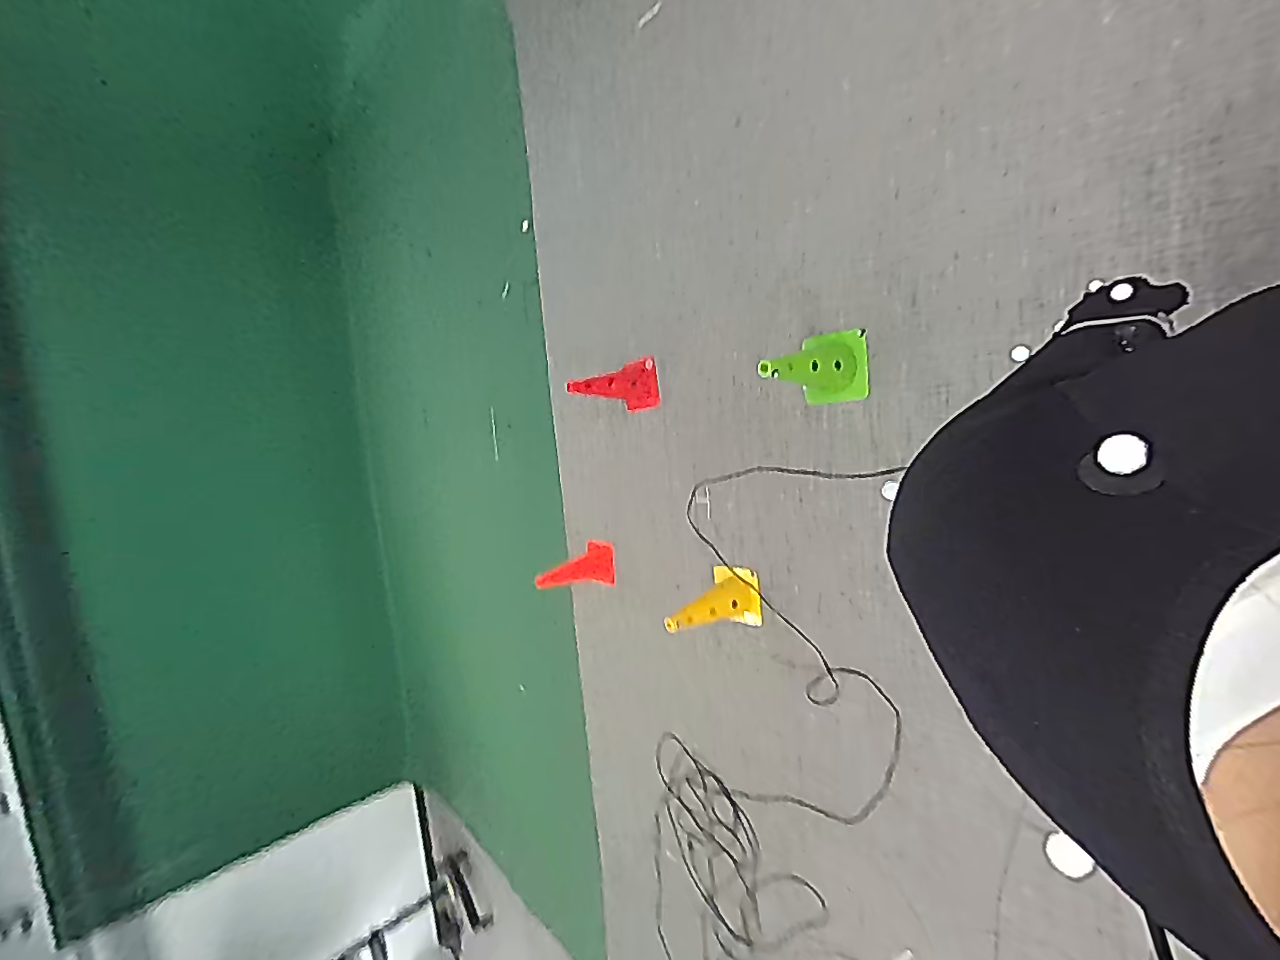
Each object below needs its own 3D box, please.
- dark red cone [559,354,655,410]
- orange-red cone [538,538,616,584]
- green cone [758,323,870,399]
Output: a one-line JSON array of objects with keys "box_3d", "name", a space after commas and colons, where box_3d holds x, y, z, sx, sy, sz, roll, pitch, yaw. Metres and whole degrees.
[{"box_3d": [-0.139, -0.371, 2.087, 0.201, 0.394, 0.202, -5, 94, 50], "name": "dark red cone"}, {"box_3d": [-0.307, 0.410, 2.487, 0.199, 0.360, 0.198, 3, 102, 47], "name": "orange-red cone"}, {"box_3d": [0.442, -0.315, 1.474, 0.200, 0.368, 0.202, 1, 100, 49], "name": "green cone"}]
